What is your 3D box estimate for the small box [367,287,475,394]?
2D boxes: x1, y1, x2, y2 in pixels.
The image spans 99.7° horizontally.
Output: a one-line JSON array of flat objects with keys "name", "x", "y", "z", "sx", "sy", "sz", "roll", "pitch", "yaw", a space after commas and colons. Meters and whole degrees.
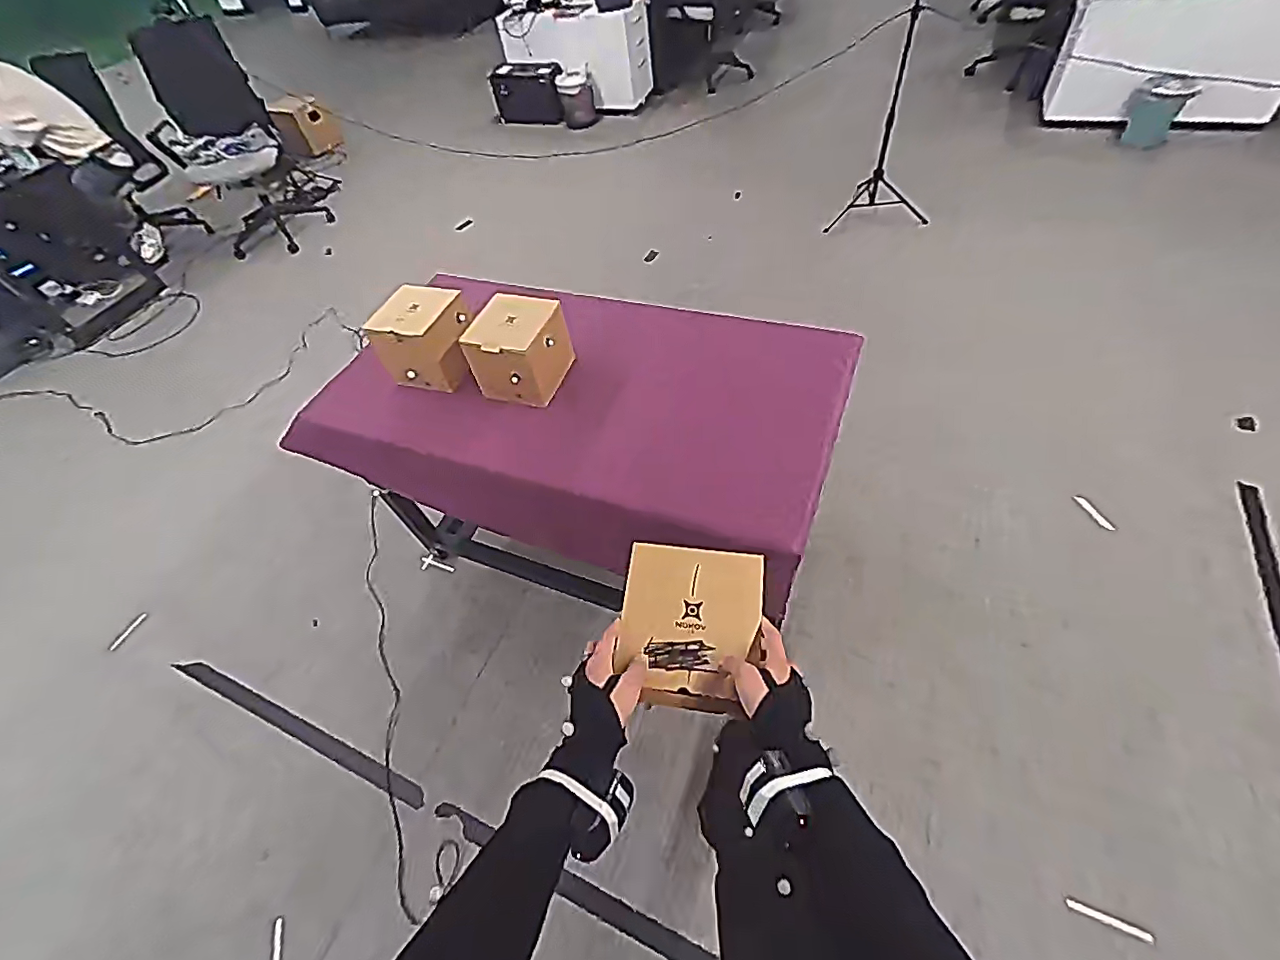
[{"name": "small box", "x": -0.502, "y": -0.334, "z": 1.297, "sx": 0.168, "sy": 0.176, "sz": 0.179, "roll": 11, "pitch": 56, "yaw": 17}]

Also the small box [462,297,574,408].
[{"name": "small box", "x": -0.266, "y": -0.287, "z": 1.228, "sx": 0.168, "sy": 0.176, "sz": 0.179, "roll": 13, "pitch": 56, "yaw": 17}]

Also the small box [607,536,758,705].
[{"name": "small box", "x": 0.062, "y": 0.192, "z": 0.715, "sx": 0.168, "sy": 0.176, "sz": 0.179, "roll": 5, "pitch": 64, "yaw": 8}]
